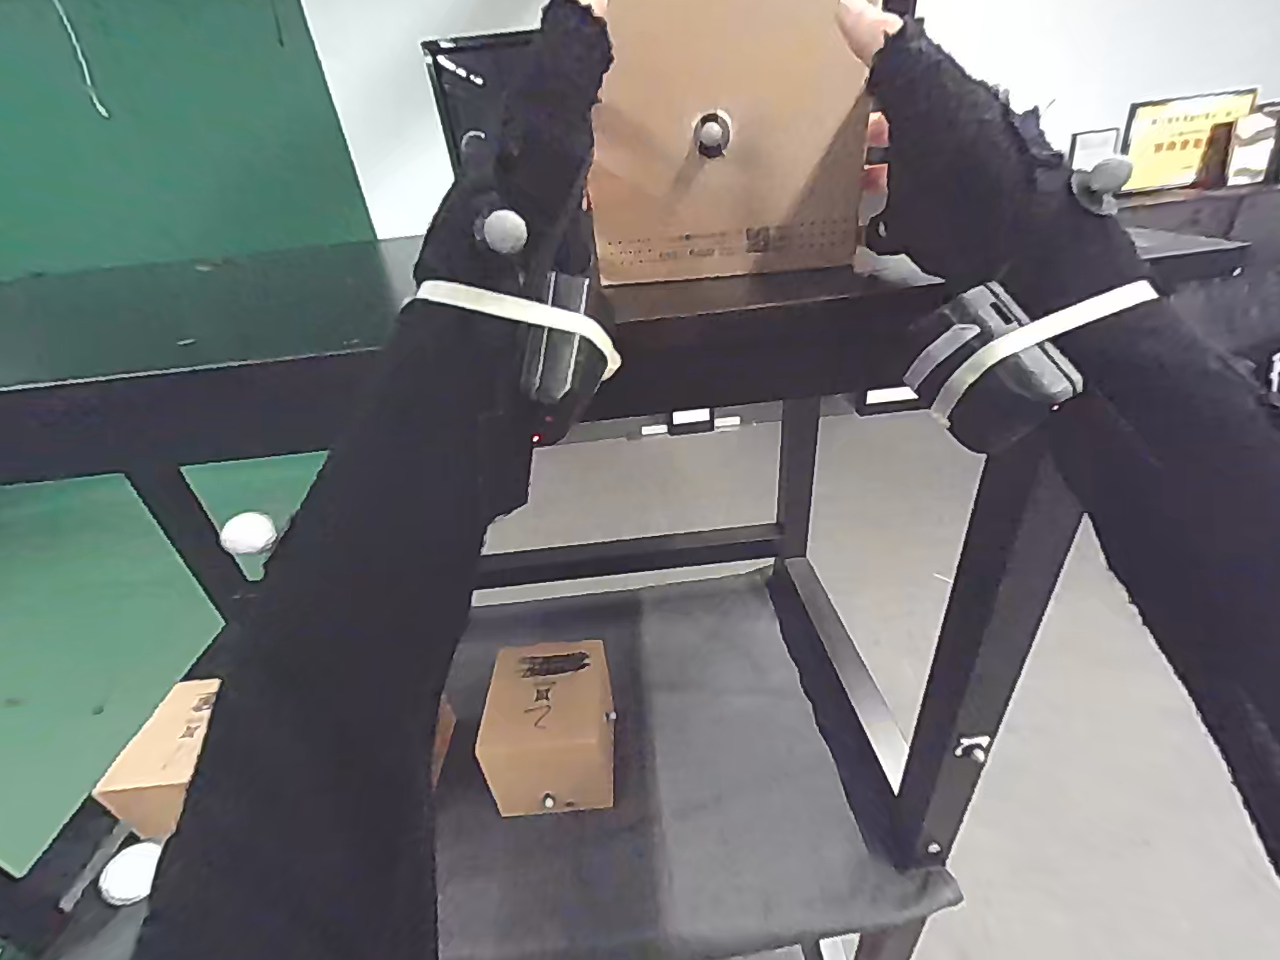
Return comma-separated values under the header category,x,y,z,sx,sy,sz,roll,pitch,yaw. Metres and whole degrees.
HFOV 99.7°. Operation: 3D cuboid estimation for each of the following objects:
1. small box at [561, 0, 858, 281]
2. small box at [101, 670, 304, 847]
category,x,y,z,sx,sy,sz,roll,pitch,yaw
small box,0.054,-0.246,0.393,0.168,0.176,0.179,-1,31,8
small box,-0.634,0.422,0.828,0.168,0.176,0.179,-6,31,0
